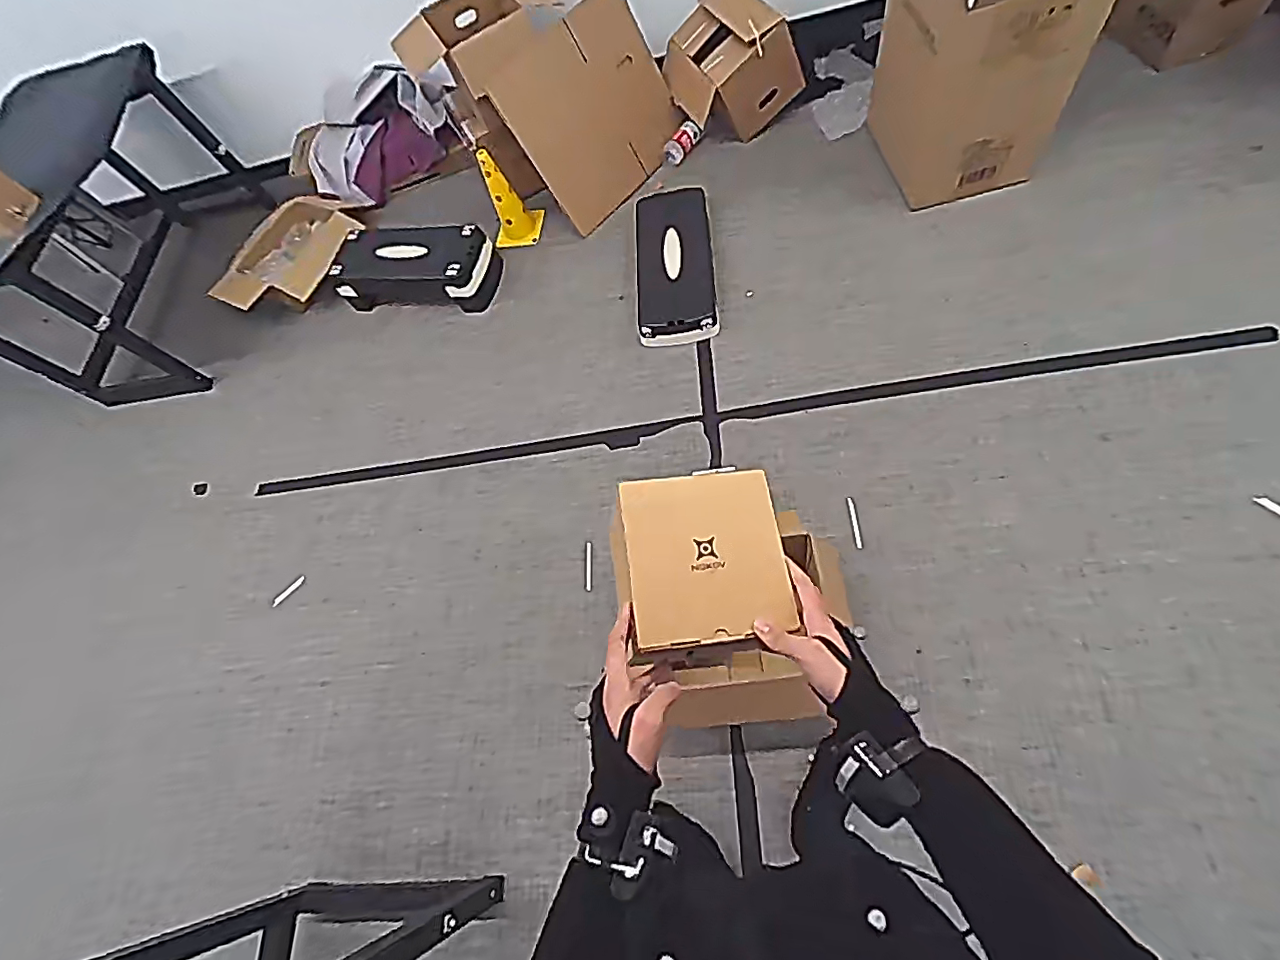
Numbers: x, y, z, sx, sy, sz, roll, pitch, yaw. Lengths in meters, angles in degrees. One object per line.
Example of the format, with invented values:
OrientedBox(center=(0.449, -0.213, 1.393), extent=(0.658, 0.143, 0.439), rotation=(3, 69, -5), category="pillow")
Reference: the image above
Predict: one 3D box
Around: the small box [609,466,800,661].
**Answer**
OrientedBox(center=(0.057, 0.101, 0.619), extent=(0.168, 0.176, 0.179), rotation=(-5, 68, -9), category="small box")
